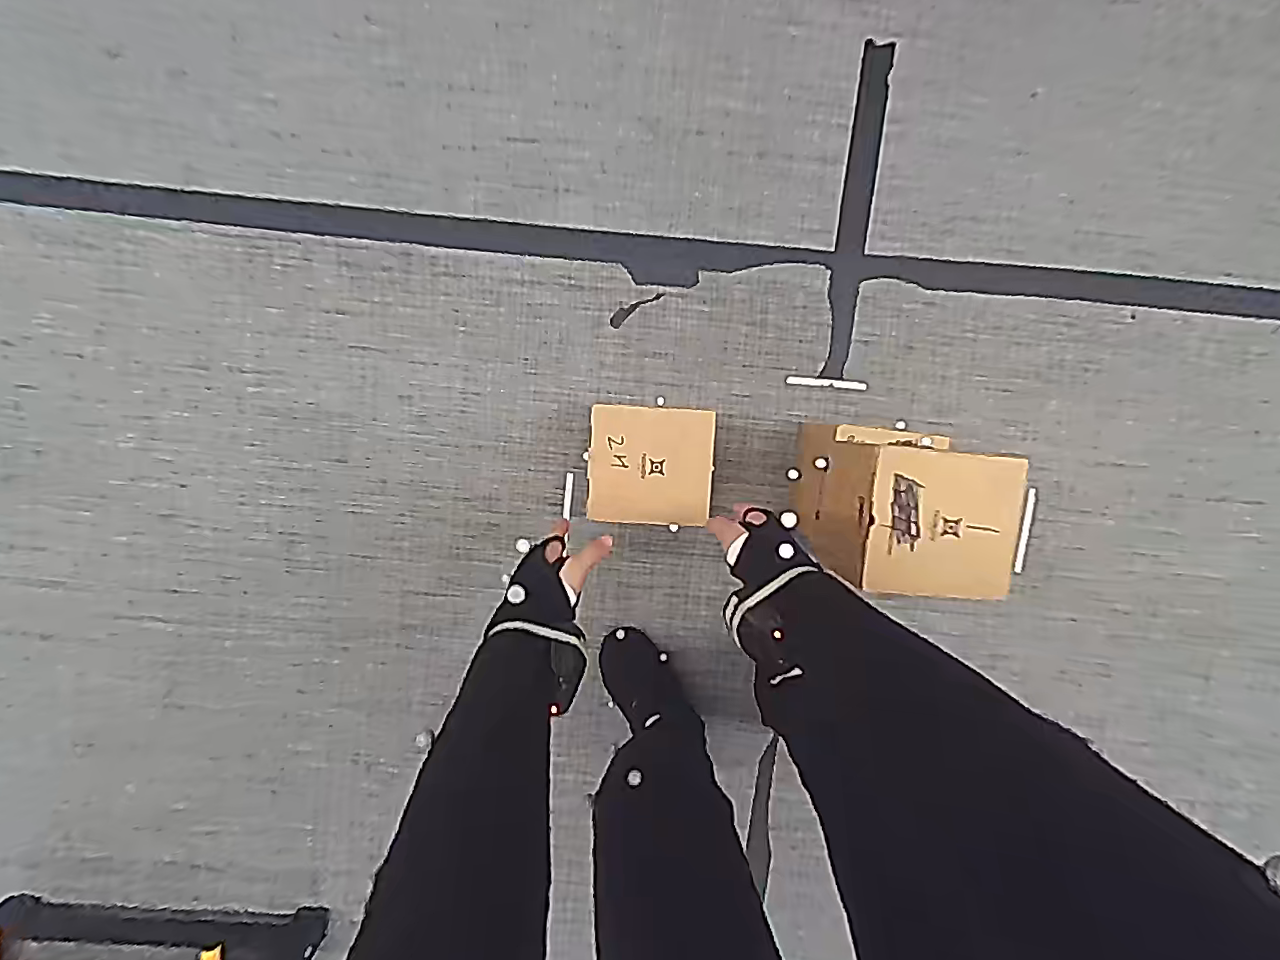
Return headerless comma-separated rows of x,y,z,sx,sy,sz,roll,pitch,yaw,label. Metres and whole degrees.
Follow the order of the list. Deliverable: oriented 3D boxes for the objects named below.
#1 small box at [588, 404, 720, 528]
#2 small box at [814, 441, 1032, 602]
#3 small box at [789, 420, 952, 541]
0.016,-0.028,0.828,0.179,0.176,0.168,3,97,-1,small box
0.336,0.041,0.679,0.179,0.176,0.168,5,97,-3,small box
0.343,0.006,0.842,0.168,0.176,0.179,7,98,-2,small box
